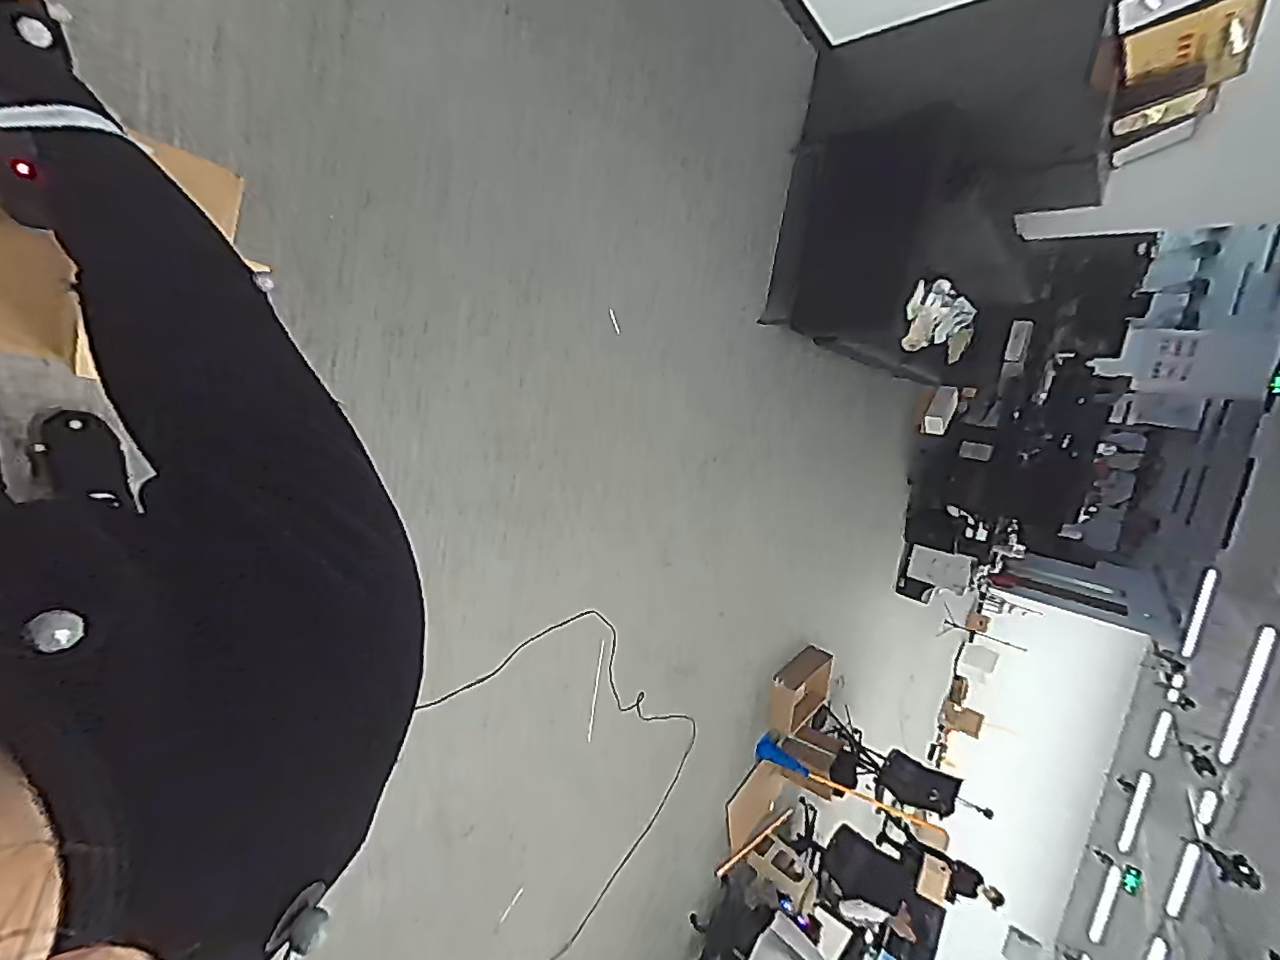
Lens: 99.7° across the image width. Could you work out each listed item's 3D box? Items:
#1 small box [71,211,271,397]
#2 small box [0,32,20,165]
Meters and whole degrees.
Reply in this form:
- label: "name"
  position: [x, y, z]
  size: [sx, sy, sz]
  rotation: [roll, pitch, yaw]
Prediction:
- label: "small box"
  position: [-0.599, -0.214, 0.690]
  size: [0.168, 0.176, 0.179]
  rotation: [3, 100, -49]
- label: "small box"
  position: [-0.723, -0.369, 0.499]
  size: [0.179, 0.176, 0.168]
  rotation: [15, 91, -50]
